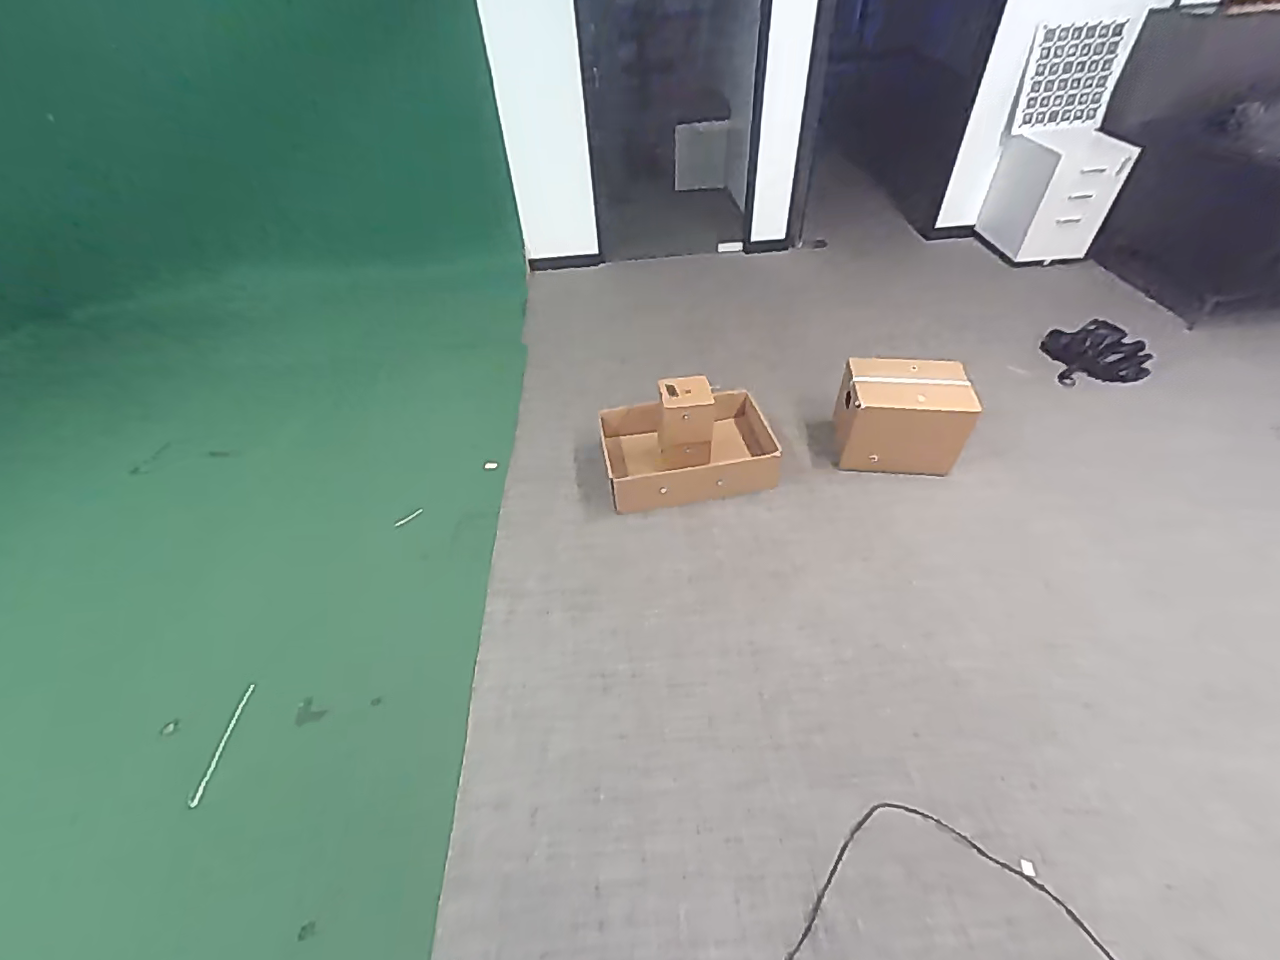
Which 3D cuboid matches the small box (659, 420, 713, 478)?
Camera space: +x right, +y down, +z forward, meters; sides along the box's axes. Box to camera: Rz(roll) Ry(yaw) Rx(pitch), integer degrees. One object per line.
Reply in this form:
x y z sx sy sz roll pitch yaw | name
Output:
0.171 -0.123 2.046 0.179 0.176 0.168 -7 45 -6 | small box

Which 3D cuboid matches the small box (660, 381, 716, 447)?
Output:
0.167 -0.232 1.922 0.179 0.176 0.168 -5 45 -3 | small box
